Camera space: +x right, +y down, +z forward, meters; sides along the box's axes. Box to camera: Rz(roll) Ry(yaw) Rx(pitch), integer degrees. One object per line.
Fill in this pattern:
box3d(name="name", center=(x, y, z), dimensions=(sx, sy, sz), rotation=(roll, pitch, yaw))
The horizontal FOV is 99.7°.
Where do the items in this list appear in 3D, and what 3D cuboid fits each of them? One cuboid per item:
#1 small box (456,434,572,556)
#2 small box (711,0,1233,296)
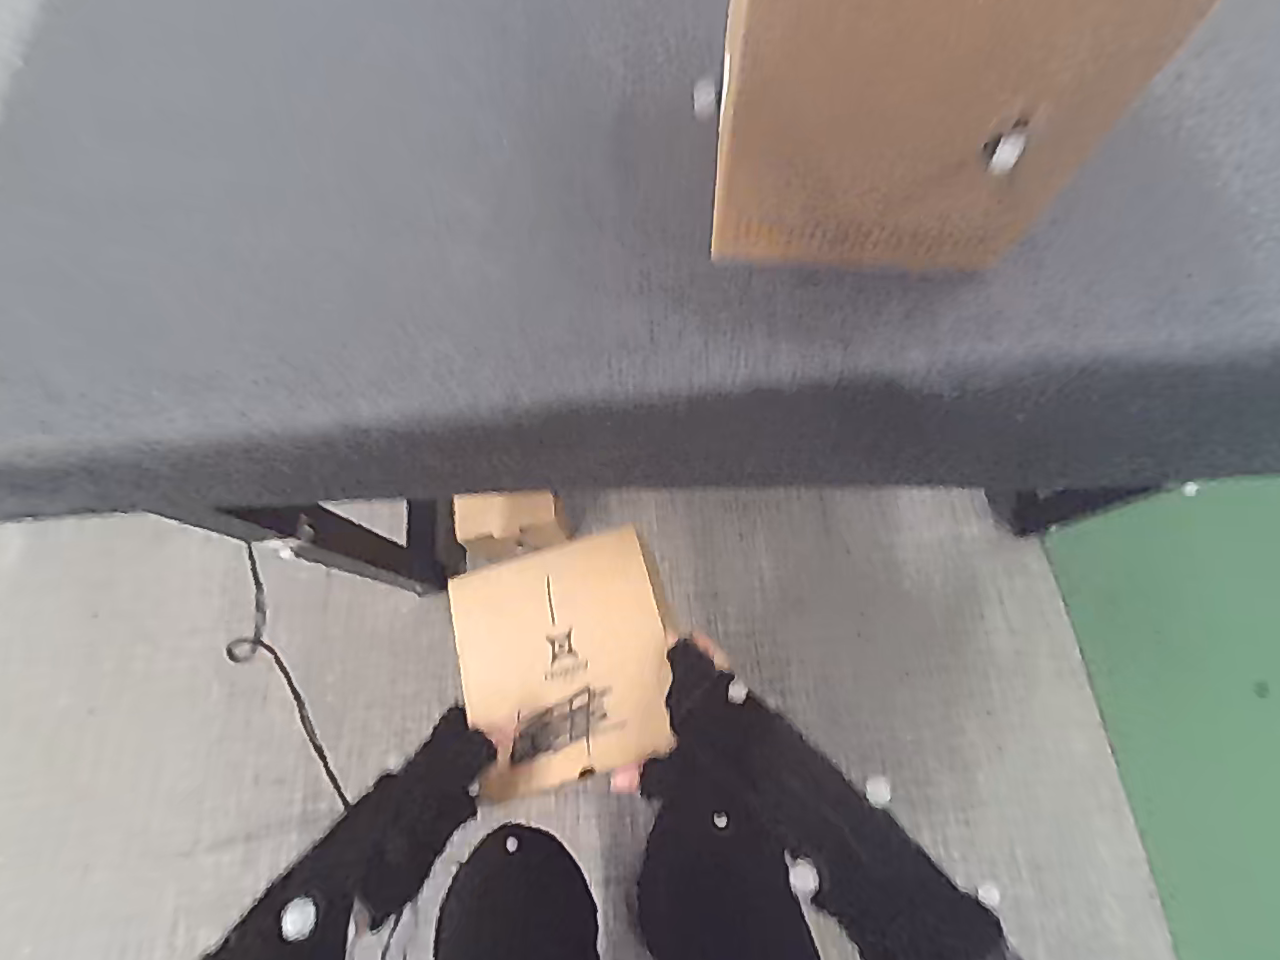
box3d(name="small box", center=(-0.224, 0.036, 0.990), dimensions=(0.168, 0.176, 0.179), rotation=(-9, 72, -3))
box3d(name="small box", center=(0.139, -0.223, 0.301), dimensions=(0.179, 0.176, 0.168), rotation=(4, 69, 3))
